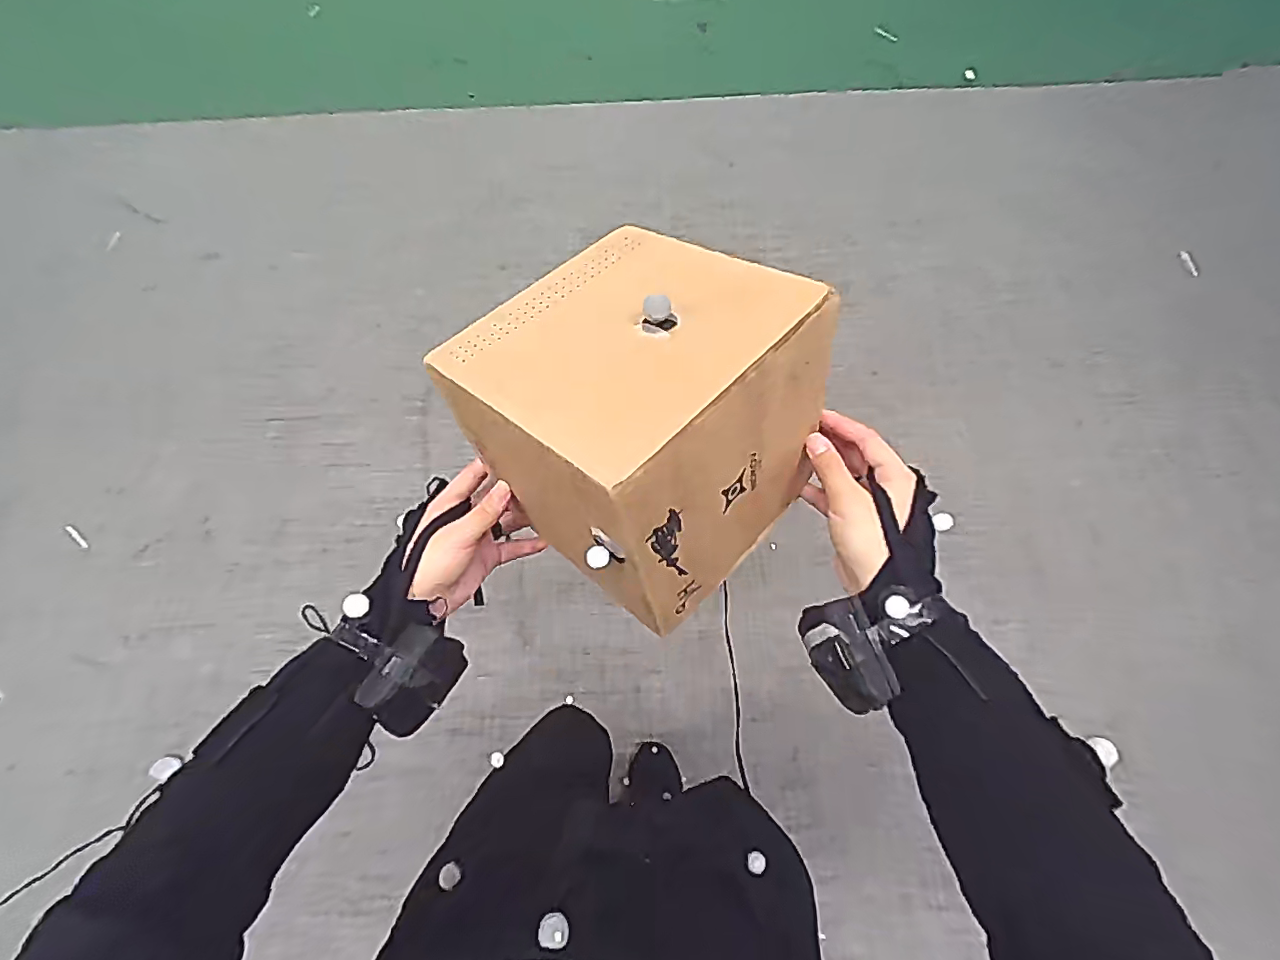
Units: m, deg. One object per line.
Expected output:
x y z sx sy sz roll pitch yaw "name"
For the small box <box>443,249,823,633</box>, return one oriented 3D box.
0.002 -0.037 0.380 0.176 0.168 0.179 31 63 32 "small box"
